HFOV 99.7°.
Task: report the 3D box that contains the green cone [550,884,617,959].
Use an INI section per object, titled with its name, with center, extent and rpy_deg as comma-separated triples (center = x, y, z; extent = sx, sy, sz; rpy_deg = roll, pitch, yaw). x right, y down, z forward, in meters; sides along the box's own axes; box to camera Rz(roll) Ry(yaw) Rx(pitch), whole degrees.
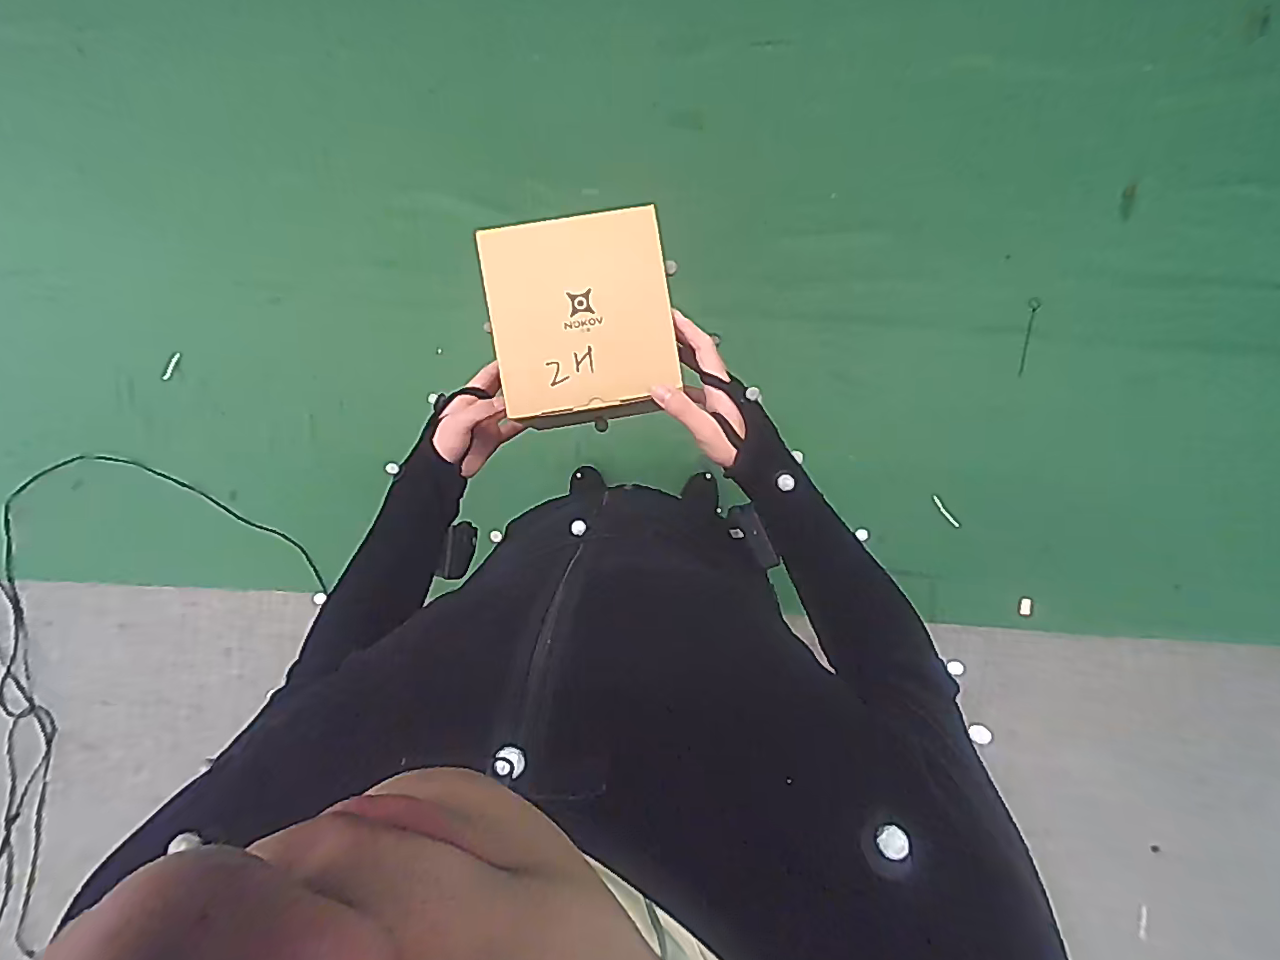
[green cone]
center = -0.178, 1.343, 1.480
extent = 0.202, 0.368, 0.200
rpy_deg = 4, 92, 2
